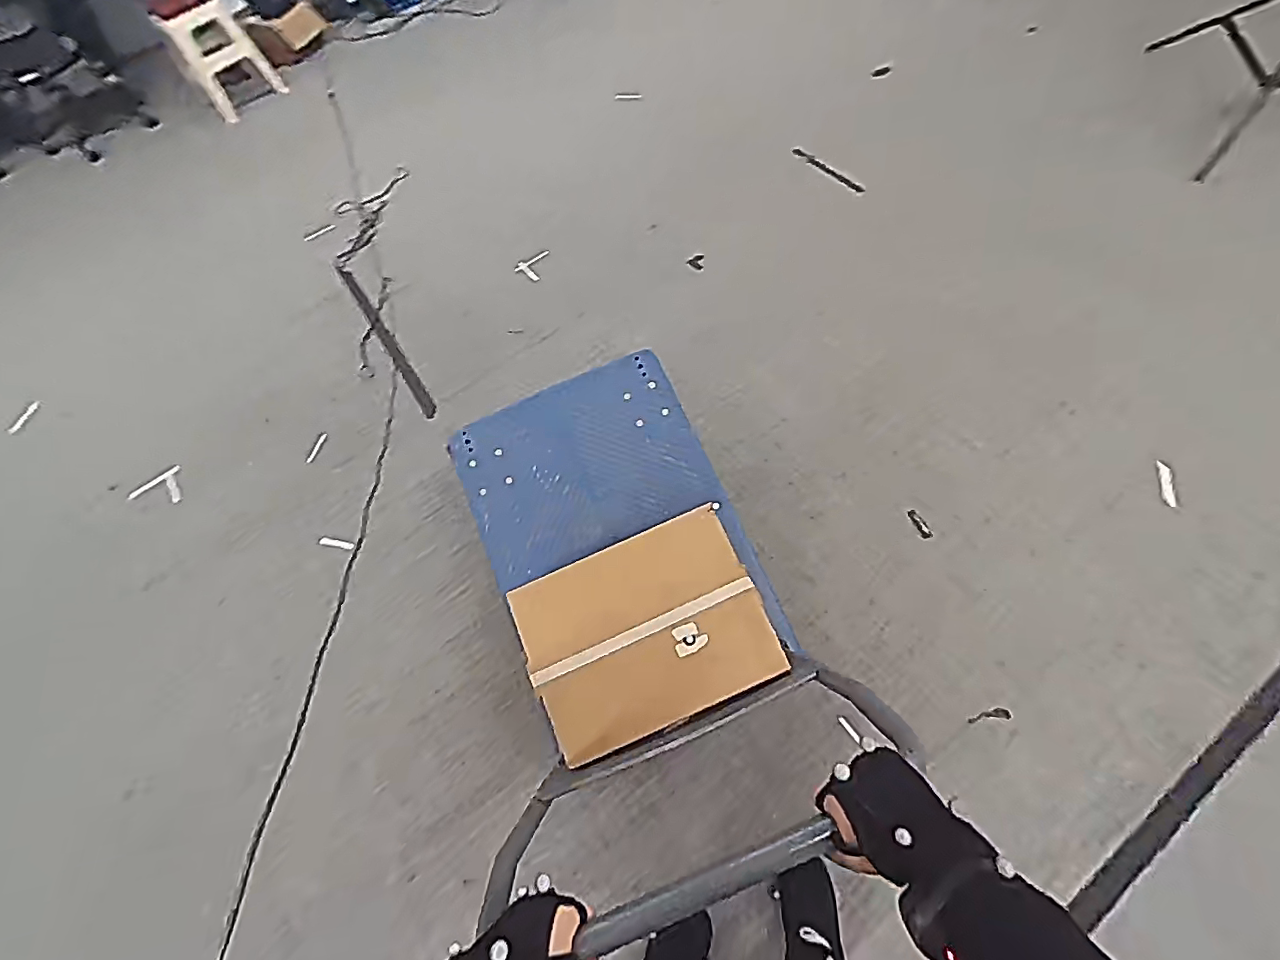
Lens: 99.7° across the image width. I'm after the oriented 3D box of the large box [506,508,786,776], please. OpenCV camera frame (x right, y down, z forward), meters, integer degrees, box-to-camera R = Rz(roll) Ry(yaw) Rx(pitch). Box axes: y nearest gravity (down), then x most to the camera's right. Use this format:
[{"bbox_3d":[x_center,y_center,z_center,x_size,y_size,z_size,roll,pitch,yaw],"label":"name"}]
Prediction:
[{"bbox_3d":[0.012,0.306,1.062,0.408,0.320,0.320,-25,75,-3],"label":"large box"}]
